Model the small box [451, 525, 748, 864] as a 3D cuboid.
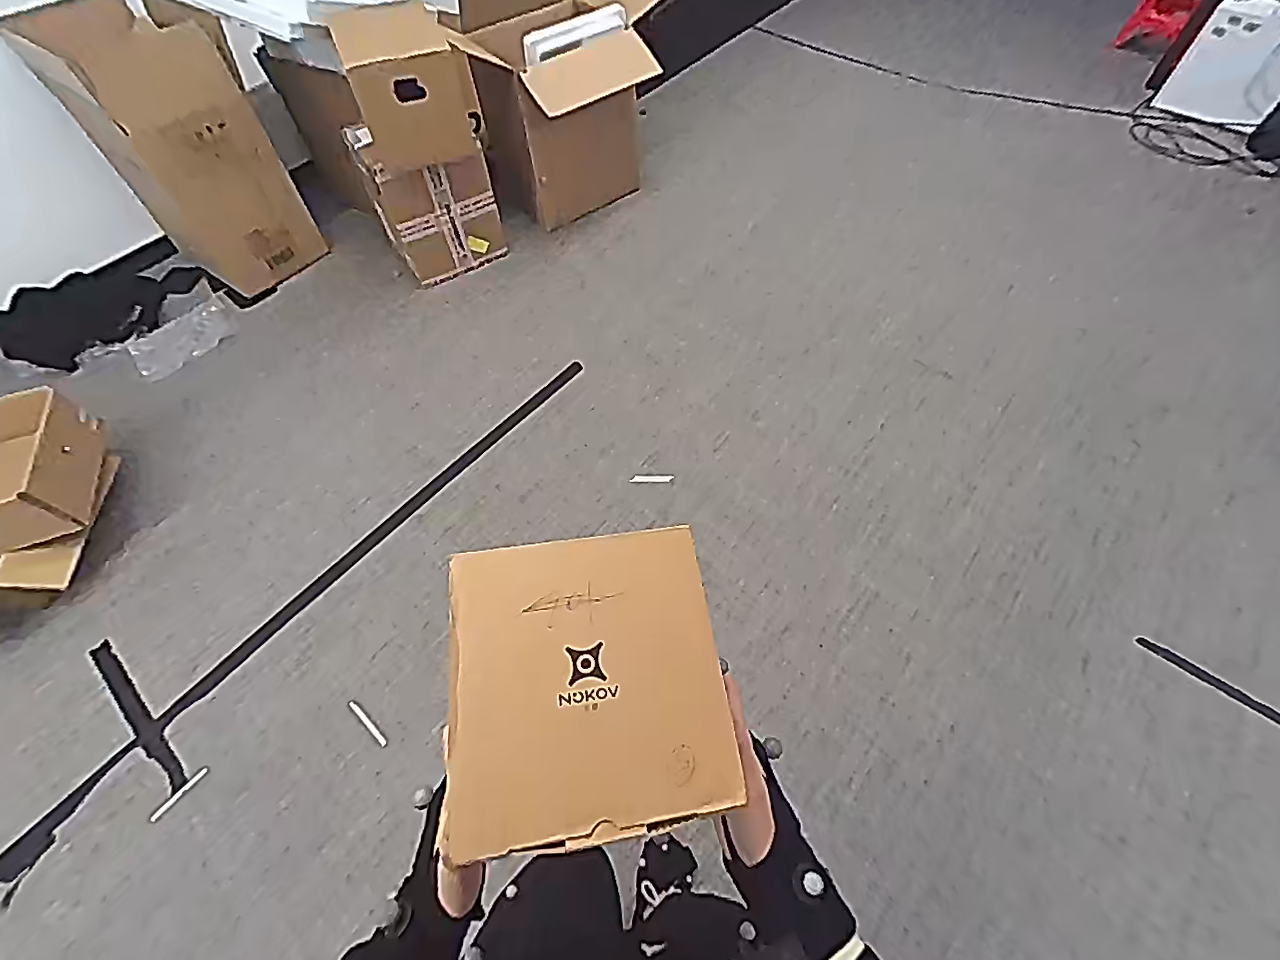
[{"bbox_3d":[-0.036,0.154,0.400,0.168,0.176,0.179,-7,61,-9],"label":"small box"}]
